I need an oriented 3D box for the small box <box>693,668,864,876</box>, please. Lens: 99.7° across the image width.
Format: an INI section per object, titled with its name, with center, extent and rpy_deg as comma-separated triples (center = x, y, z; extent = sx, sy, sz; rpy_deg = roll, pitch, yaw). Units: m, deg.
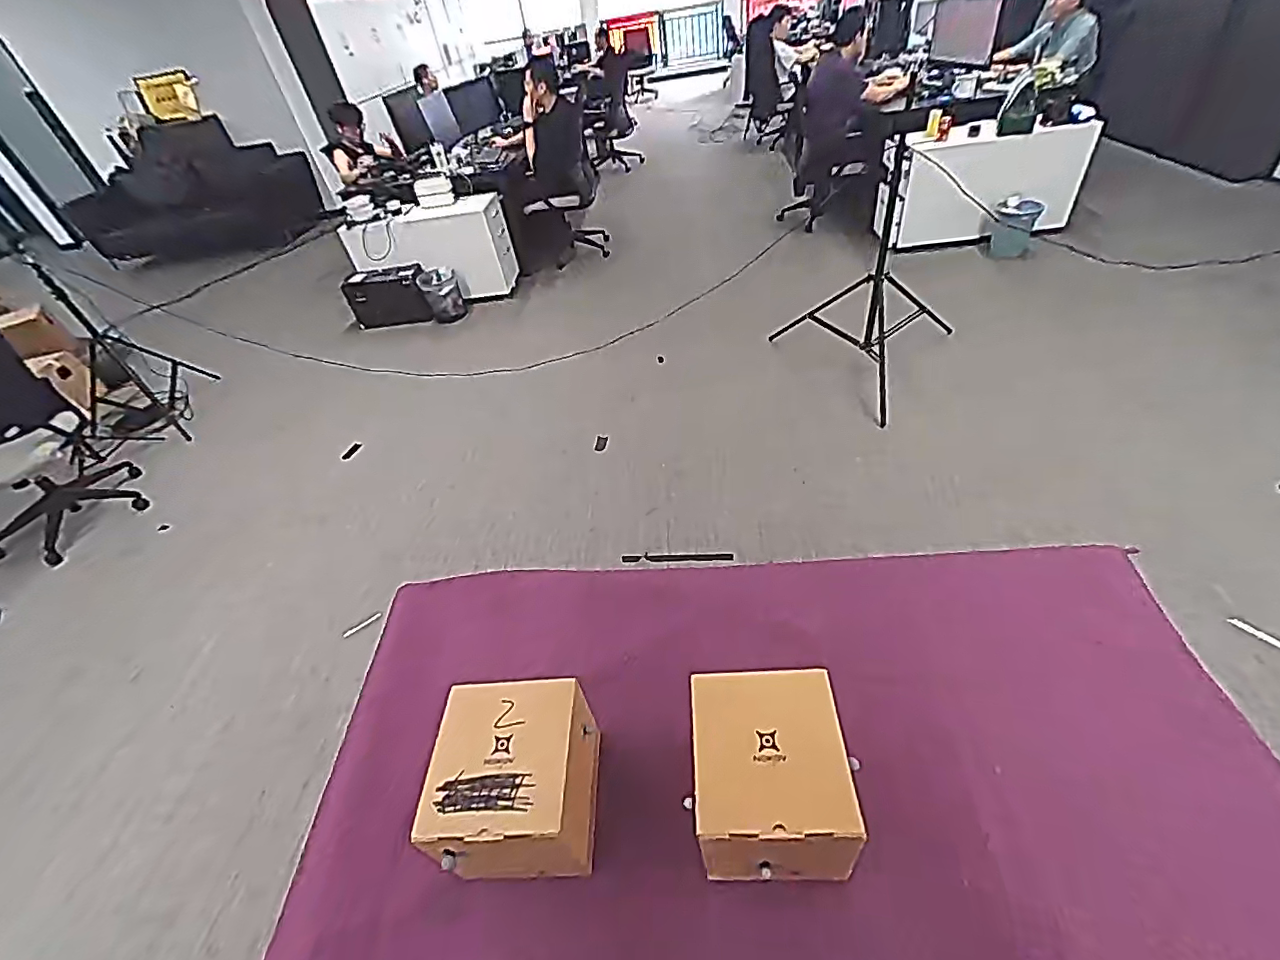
[small box]
center = 0.151, 0.349, 0.650
extent = 0.168, 0.176, 0.179
rpy_deg = -5, 43, 6
